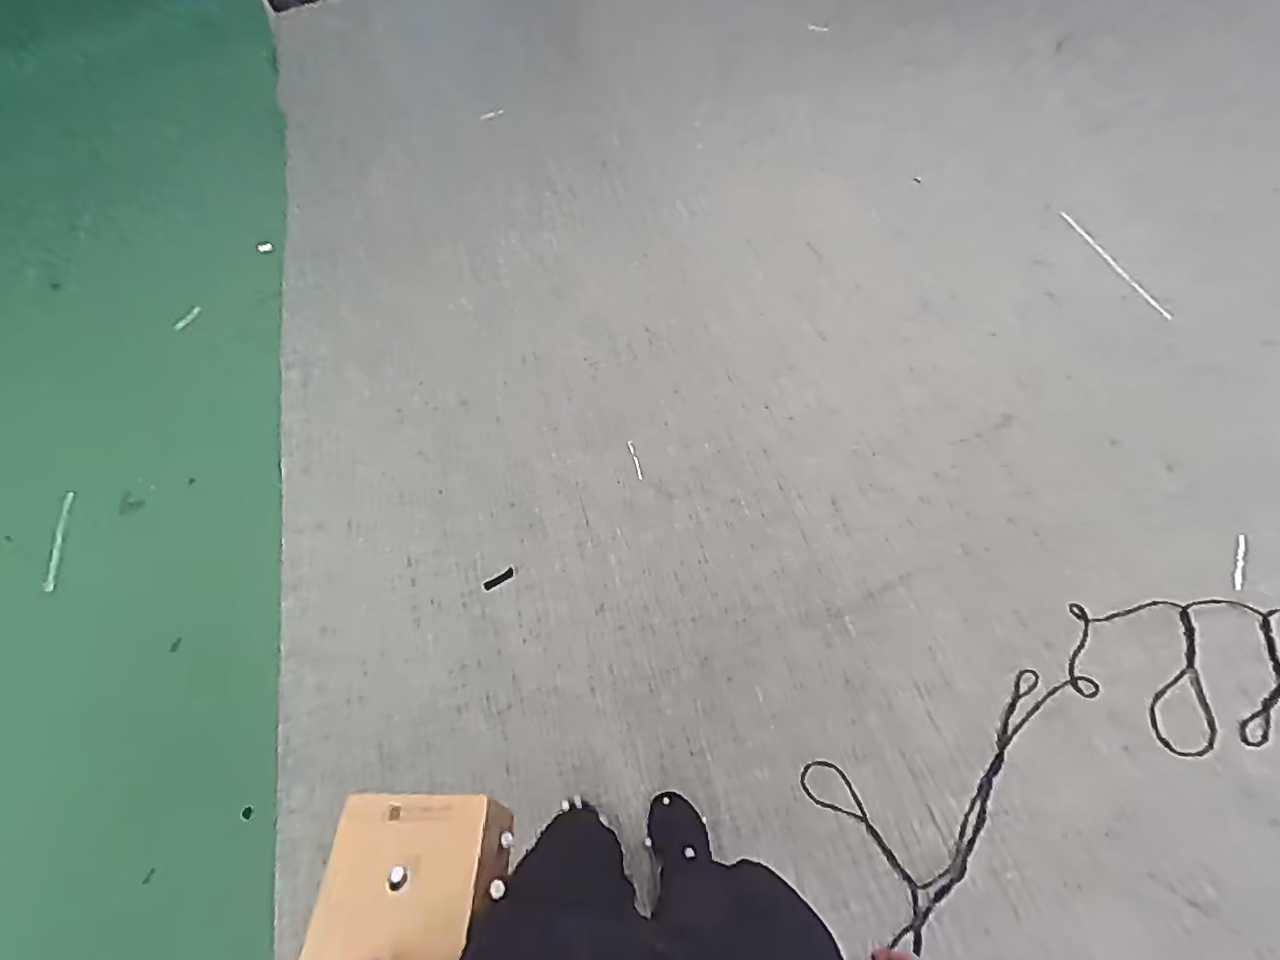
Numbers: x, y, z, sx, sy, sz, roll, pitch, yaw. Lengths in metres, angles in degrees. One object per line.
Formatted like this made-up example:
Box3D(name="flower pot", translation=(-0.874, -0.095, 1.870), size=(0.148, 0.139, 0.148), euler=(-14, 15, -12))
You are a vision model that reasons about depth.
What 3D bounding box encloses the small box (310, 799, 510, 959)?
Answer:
Box3D(name="small box", translation=(-0.257, 0.480, 0.640), size=(0.168, 0.179, 0.176), euler=(0, 55, -1))
